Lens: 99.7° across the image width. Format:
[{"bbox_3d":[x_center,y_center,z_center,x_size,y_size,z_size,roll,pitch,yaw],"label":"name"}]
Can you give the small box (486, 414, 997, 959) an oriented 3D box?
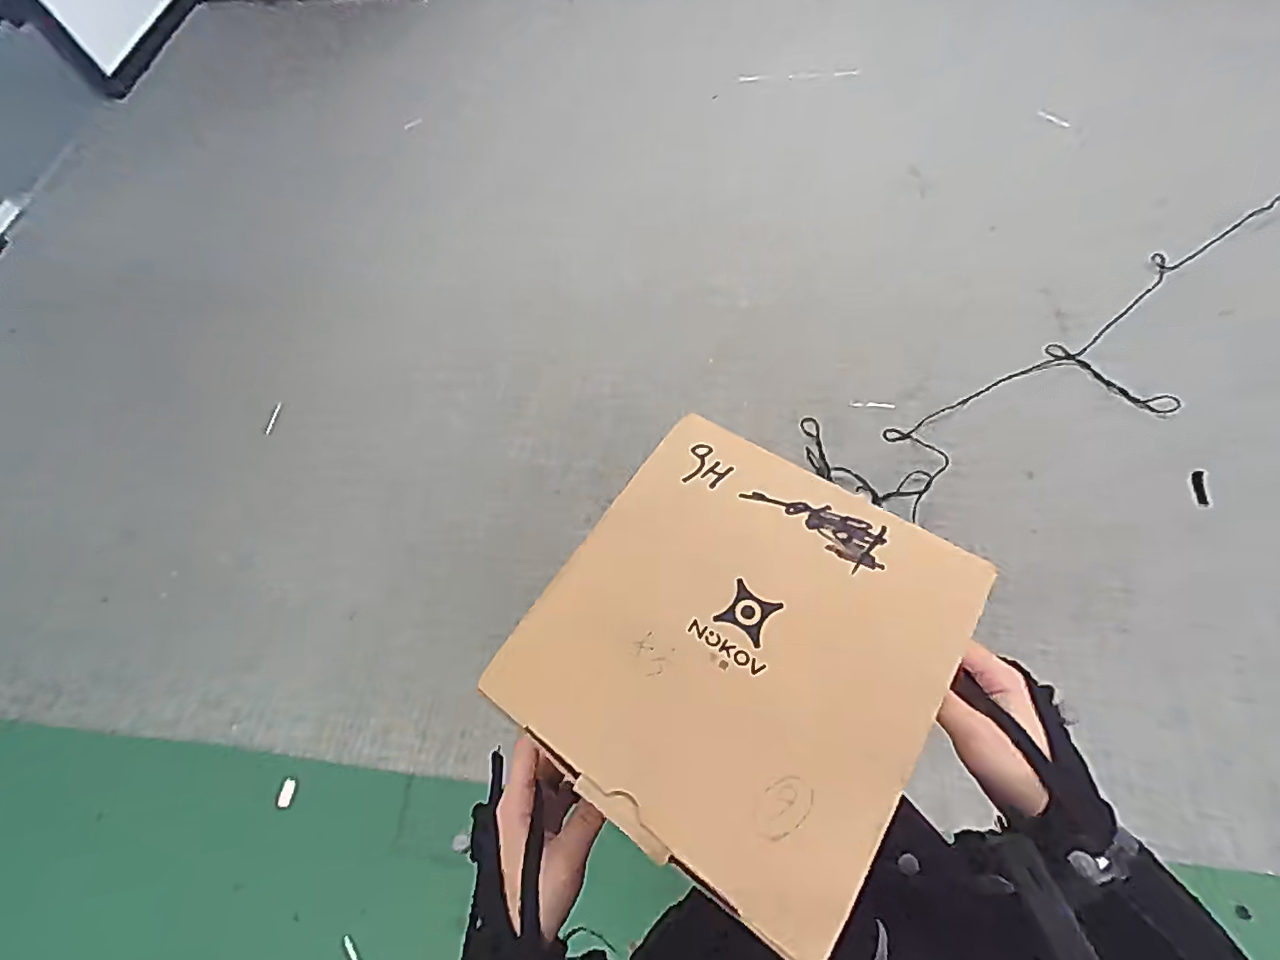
[{"bbox_3d":[0.054,0.103,0.309,0.168,0.176,0.179,30,70,21],"label":"small box"}]
